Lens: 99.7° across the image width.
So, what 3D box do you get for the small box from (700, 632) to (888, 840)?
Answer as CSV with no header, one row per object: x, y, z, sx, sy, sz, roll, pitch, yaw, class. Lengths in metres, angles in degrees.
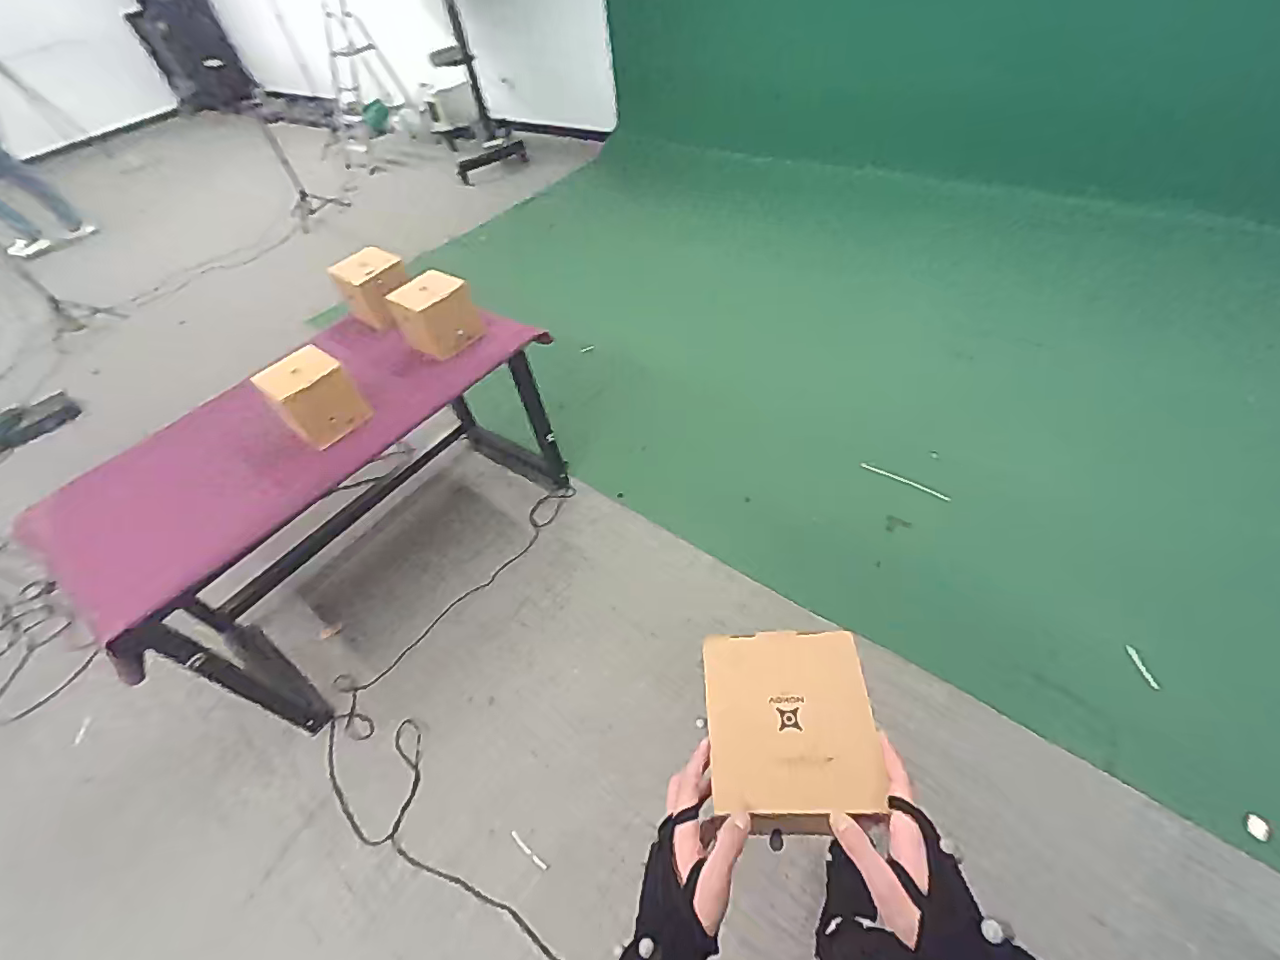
0.155,0.291,0.610,0.168,0.176,0.179,-5,50,6,small box

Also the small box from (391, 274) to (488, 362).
-0.580,-0.470,1.576,0.179,0.176,0.168,28,60,31,small box

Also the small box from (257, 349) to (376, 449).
-0.825,-0.206,1.391,0.179,0.176,0.168,28,58,30,small box

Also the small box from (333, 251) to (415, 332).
-0.829,-0.601,1.731,0.179,0.176,0.168,28,61,27,small box
